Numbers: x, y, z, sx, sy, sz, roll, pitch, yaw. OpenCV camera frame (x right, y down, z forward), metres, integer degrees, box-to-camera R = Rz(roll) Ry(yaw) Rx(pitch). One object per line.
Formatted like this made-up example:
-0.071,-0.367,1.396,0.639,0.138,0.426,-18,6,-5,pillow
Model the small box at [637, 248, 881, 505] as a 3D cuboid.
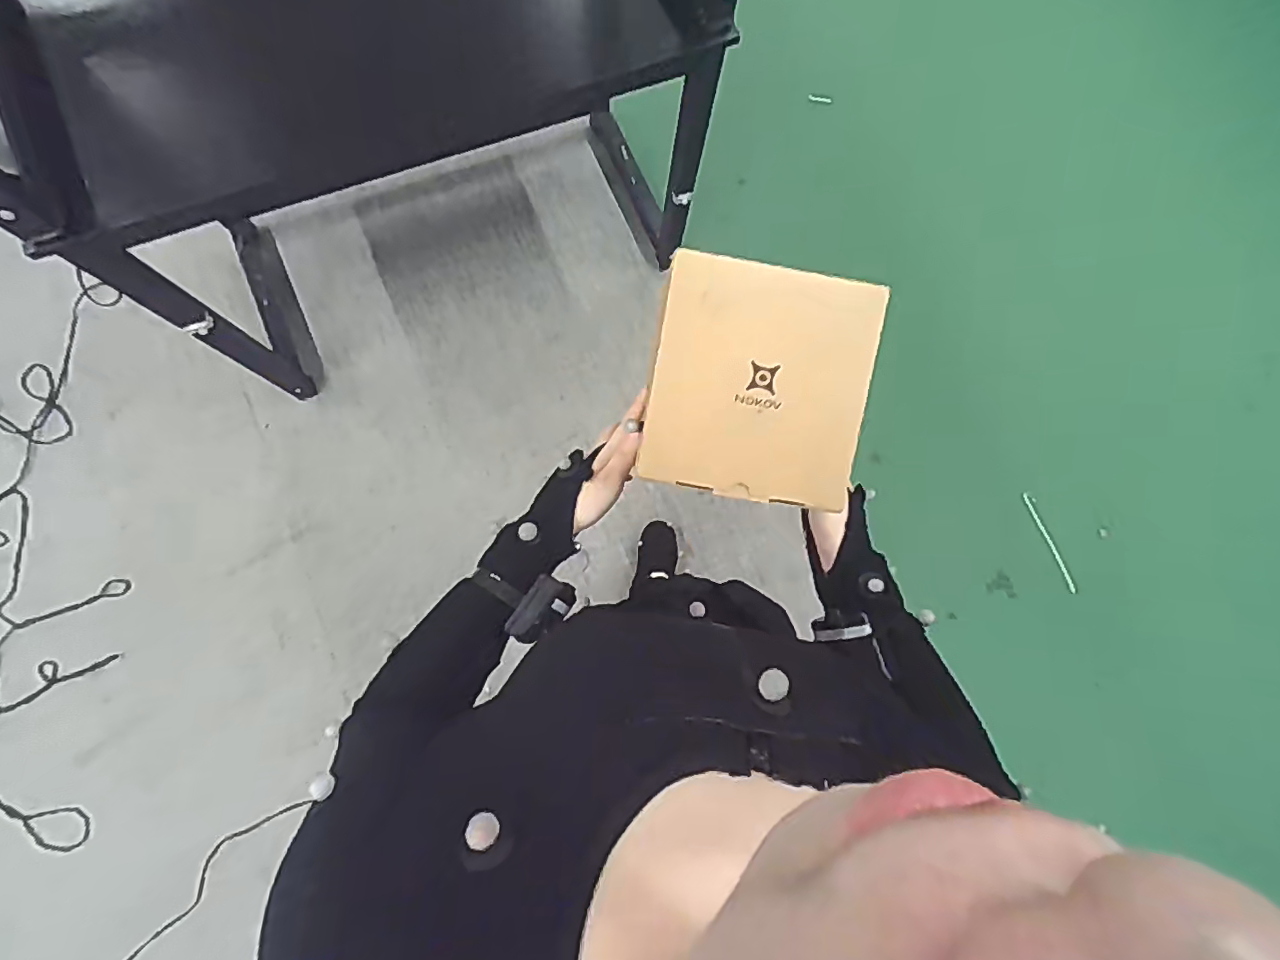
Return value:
0.091,-0.086,0.500,0.168,0.176,0.179,9,97,-2,small box
